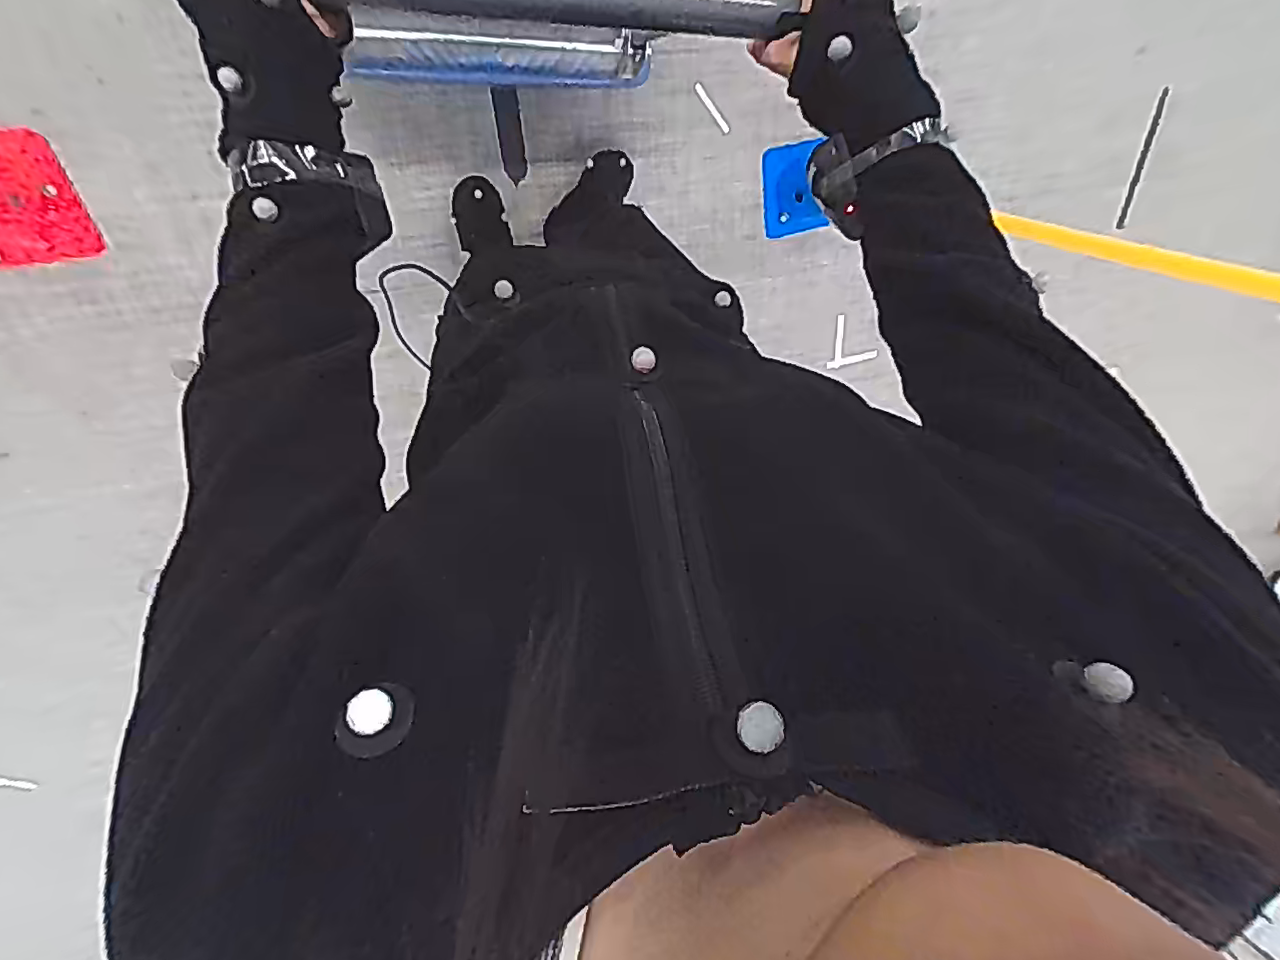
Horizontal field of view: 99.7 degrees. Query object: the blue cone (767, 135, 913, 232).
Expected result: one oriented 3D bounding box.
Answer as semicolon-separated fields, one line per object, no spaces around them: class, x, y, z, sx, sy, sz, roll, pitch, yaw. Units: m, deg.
blue cone;0.449;-0.642;1.183;0.193;0.380;0.192;-17;123;-11
